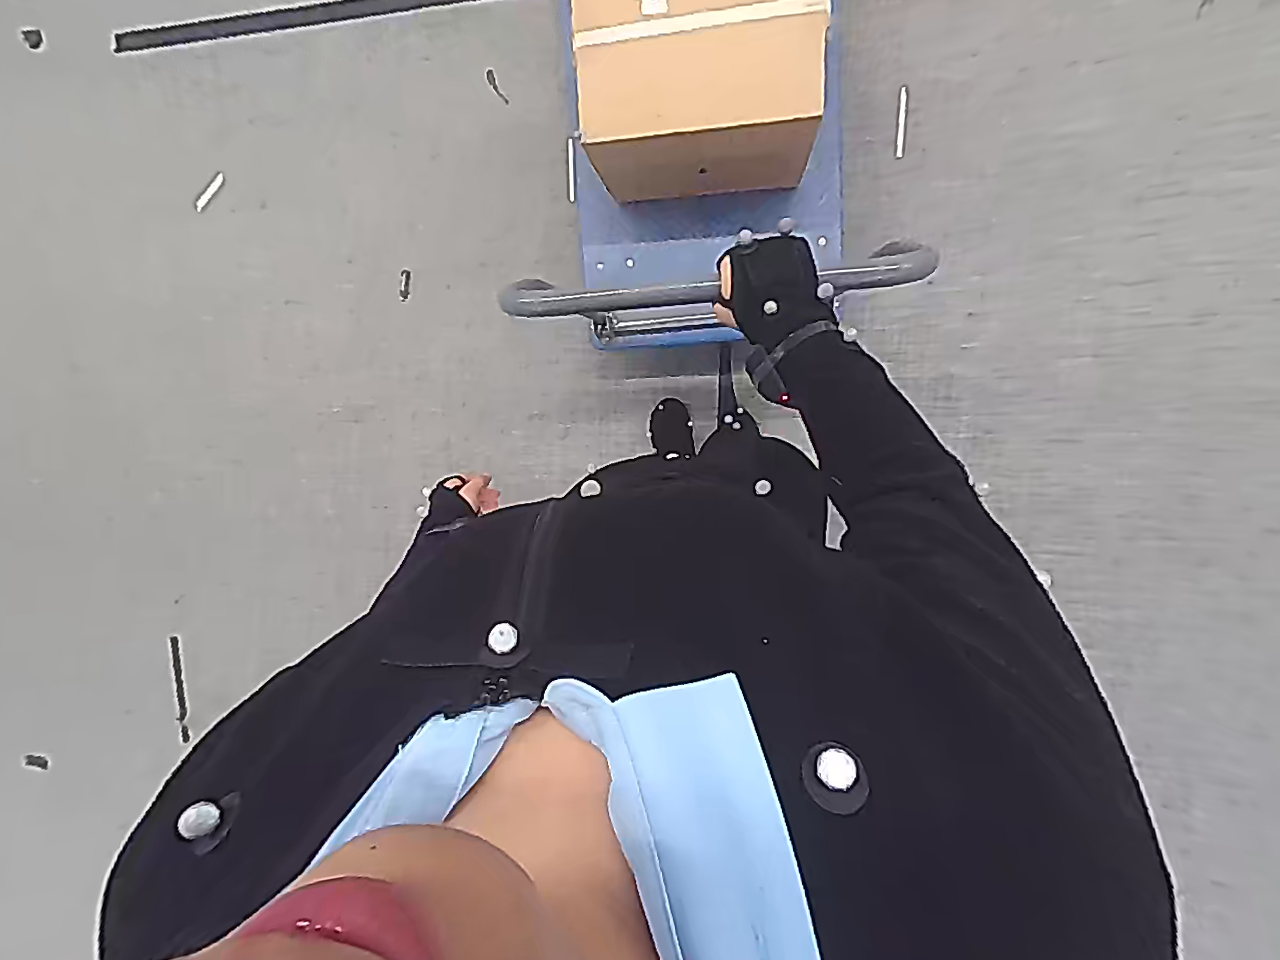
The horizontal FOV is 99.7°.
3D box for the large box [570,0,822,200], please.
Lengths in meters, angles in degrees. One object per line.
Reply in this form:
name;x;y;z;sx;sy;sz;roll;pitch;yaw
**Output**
large box;0.110;-0.753;1.007;0.408;0.320;0.320;-1;98;10
